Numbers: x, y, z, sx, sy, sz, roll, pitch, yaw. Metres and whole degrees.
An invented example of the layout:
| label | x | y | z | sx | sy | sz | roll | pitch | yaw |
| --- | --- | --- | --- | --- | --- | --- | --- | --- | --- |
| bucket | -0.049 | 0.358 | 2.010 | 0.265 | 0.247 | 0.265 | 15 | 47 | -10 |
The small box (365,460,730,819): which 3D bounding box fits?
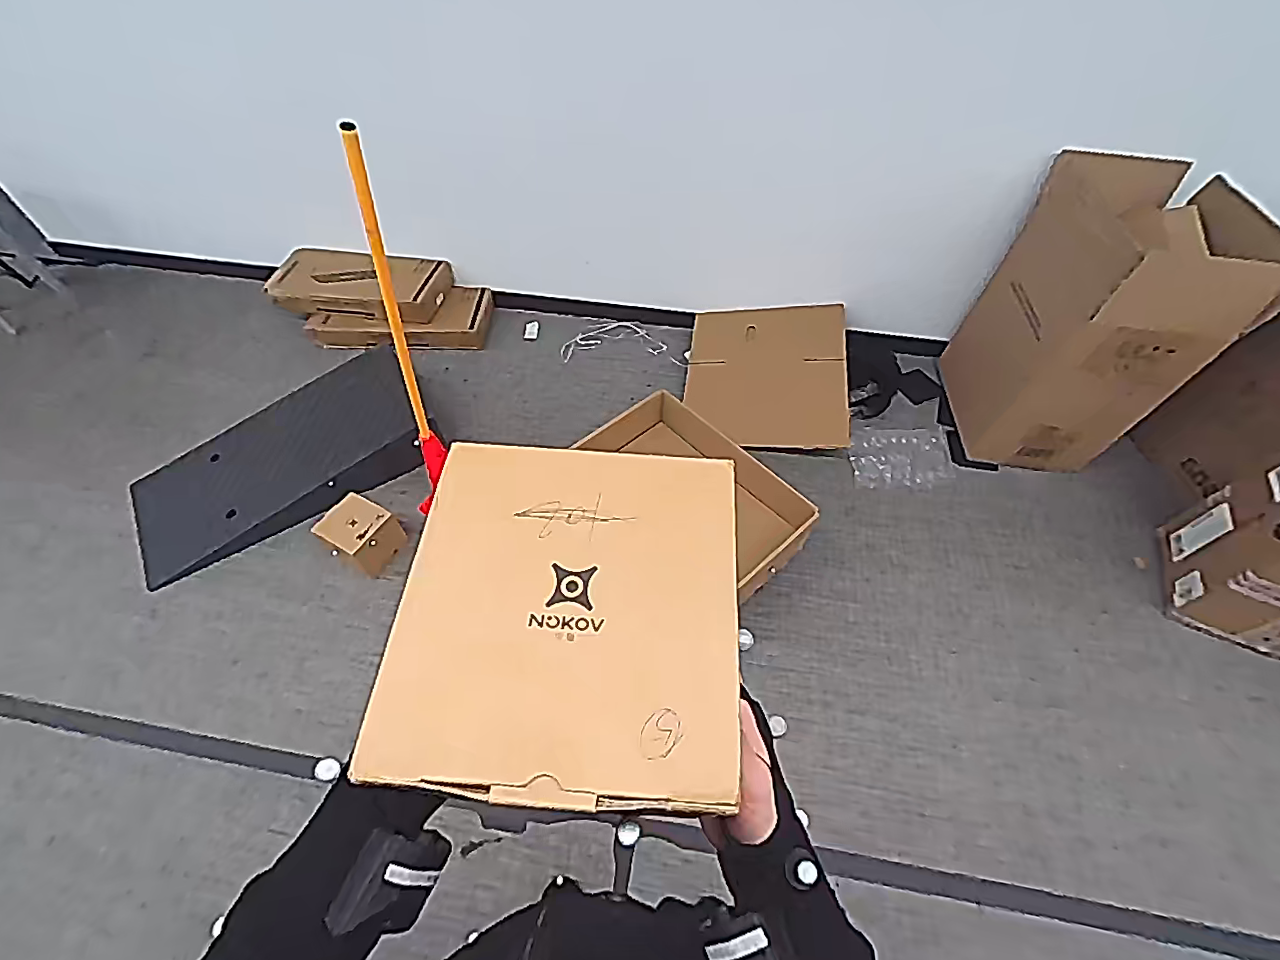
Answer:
| label | x | y | z | sx | sy | sz | roll | pitch | yaw |
| --- | --- | --- | --- | --- | --- | --- | --- | --- | --- |
| small box | -0.036 | 0.109 | 0.346 | 0.168 | 0.176 | 0.179 | 4 | 57 | 1 |
